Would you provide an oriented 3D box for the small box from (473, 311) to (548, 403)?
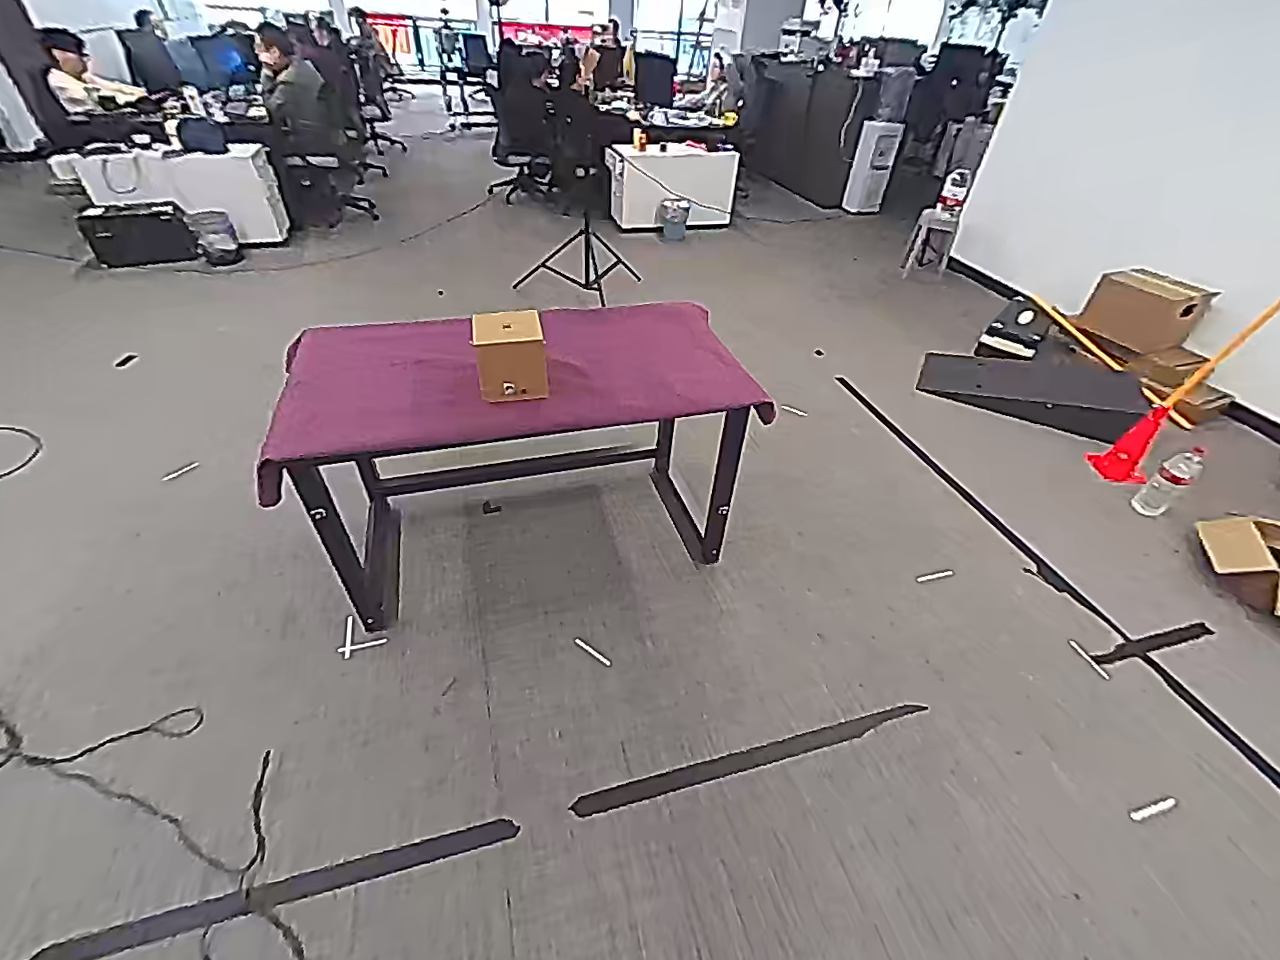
[{"bbox_3d":[-0.334,-0.318,1.392,0.168,0.176,0.179,-8,43,-12],"label":"small box"}]
